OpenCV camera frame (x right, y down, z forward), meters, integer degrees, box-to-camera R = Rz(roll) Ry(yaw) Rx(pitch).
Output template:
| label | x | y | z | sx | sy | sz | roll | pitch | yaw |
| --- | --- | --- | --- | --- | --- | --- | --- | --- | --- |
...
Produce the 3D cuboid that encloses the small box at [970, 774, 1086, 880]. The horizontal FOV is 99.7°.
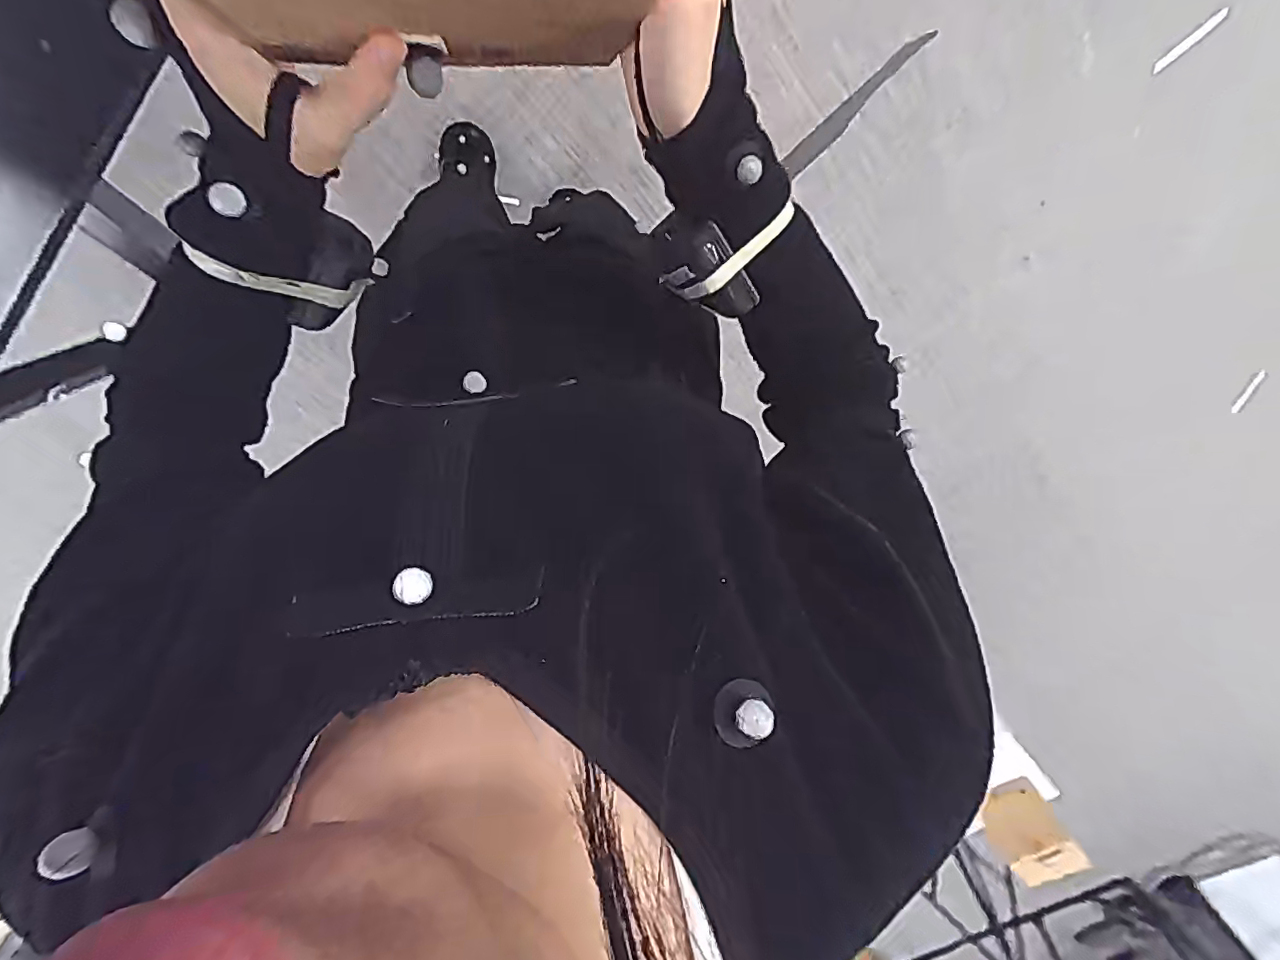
| label | x | y | z | sx | sy | sz | roll | pitch | yaw |
| --- | --- | --- | --- | --- | --- | --- | --- | --- | --- |
| small box | 1.031 | 0.921 | 1.448 | 0.168 | 0.176 | 0.179 | -36 | 116 | 17 |
